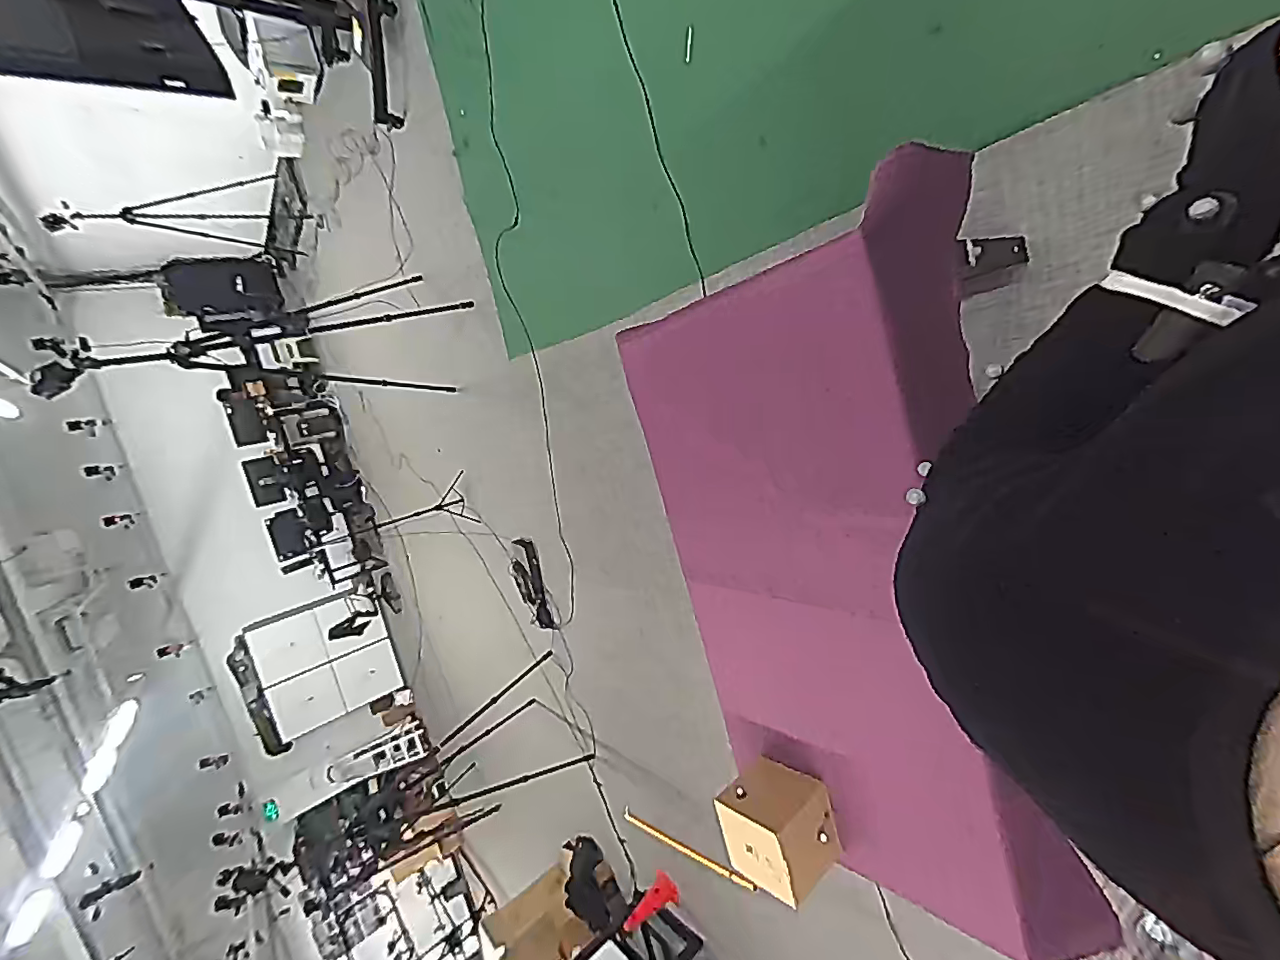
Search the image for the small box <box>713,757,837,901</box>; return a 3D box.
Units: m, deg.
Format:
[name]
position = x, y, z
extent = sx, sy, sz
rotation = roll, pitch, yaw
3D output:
[small box]
position = 0.289, 0.730, 1.159
extent = 0.179, 0.176, 0.168
rotation = -7, 100, 53
